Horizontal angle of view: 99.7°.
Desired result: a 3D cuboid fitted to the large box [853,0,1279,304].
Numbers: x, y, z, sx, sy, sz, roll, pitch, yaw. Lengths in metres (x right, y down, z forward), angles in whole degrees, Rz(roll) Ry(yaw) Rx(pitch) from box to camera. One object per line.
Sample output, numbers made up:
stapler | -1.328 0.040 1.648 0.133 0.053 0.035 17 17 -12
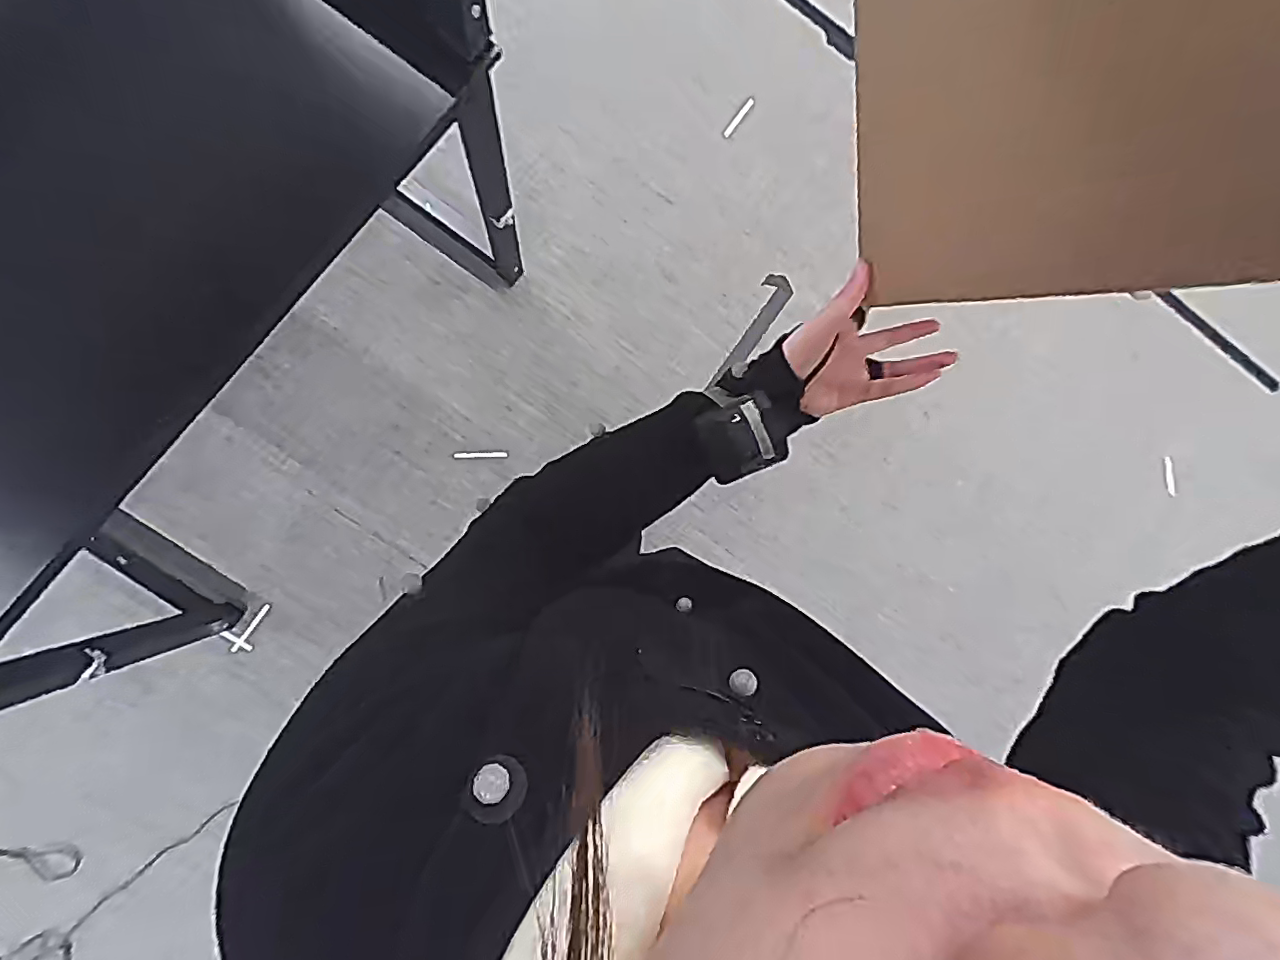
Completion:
large box | 0.300 -0.307 0.211 0.320 0.320 0.408 -12 106 -7
